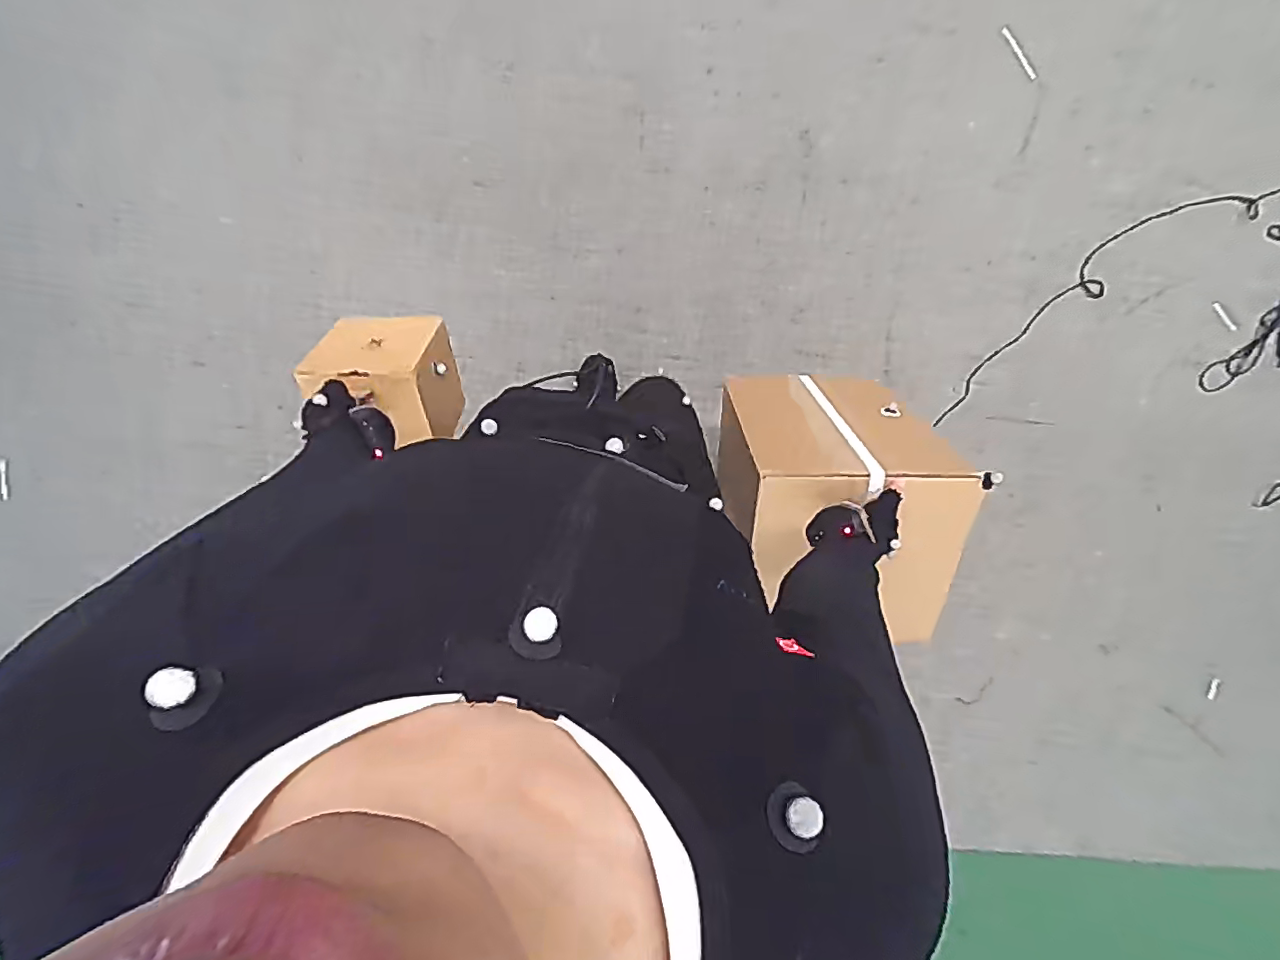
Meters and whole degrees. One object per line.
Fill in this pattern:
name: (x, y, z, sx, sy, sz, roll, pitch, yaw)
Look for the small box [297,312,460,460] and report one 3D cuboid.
small box: (-0.399, -0.151, 0.866, 0.168, 0.179, 0.176, -1, 134, -1)
